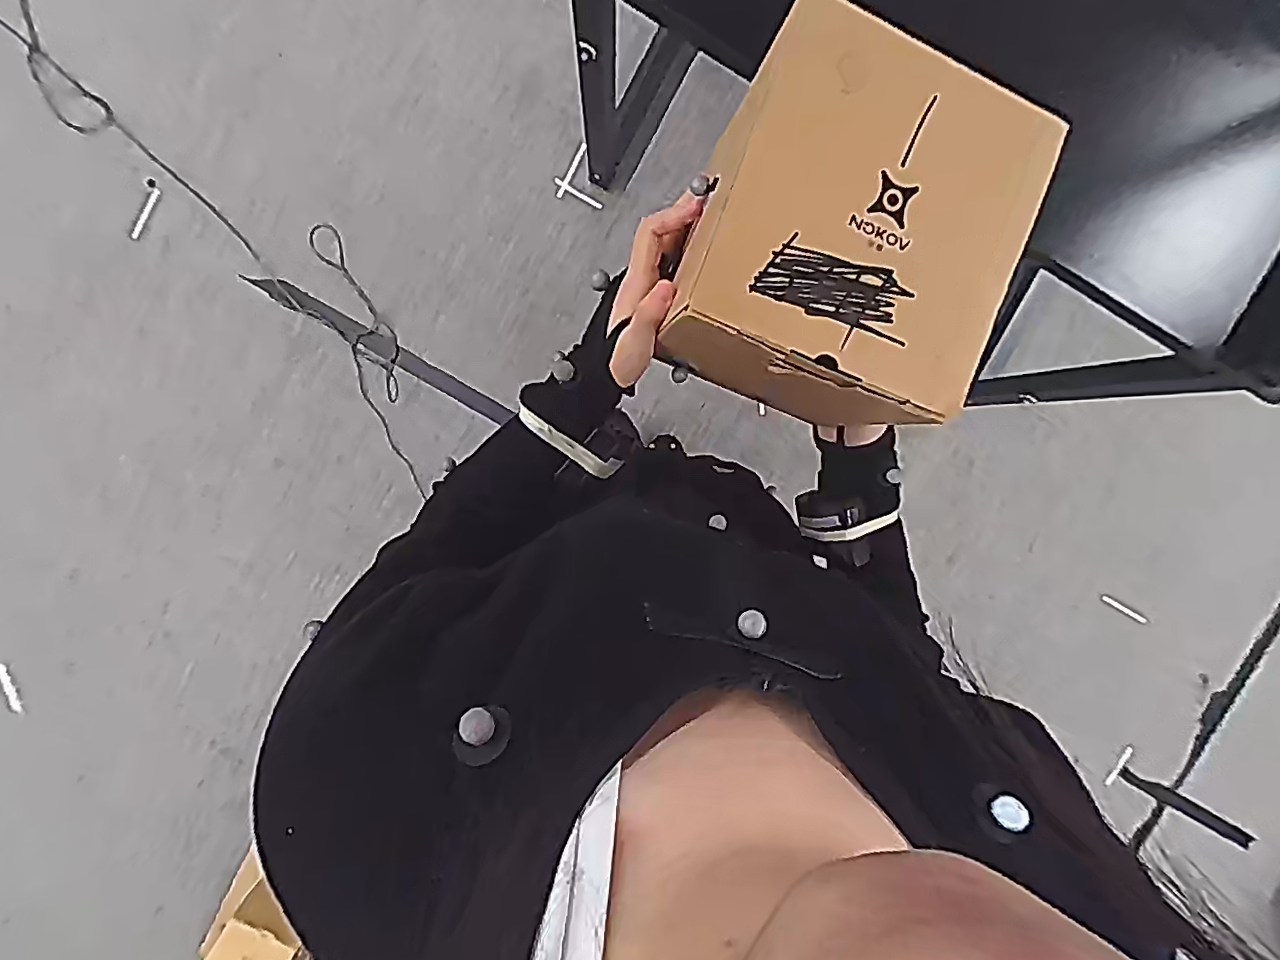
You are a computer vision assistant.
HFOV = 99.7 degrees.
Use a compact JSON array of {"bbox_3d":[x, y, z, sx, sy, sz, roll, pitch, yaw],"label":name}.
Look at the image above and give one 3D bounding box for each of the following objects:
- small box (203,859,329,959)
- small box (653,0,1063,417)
[{"bbox_3d":[-0.893,1.076,1.302,0.168,0.176,0.179,32,92,-6],"label":"small box"},{"bbox_3d":[0.116,-0.149,0.364,0.168,0.176,0.179,20,92,-10],"label":"small box"}]
